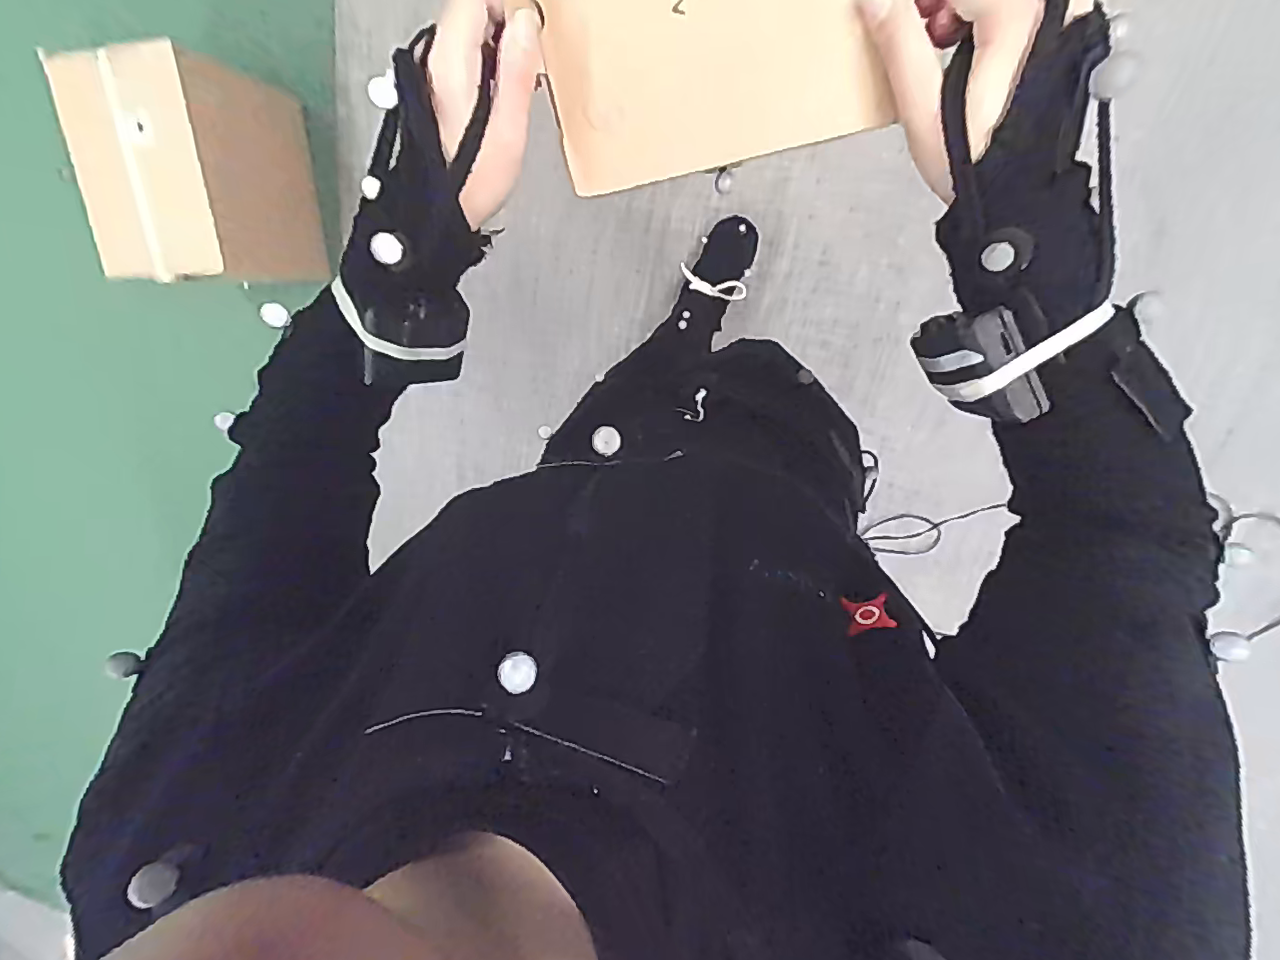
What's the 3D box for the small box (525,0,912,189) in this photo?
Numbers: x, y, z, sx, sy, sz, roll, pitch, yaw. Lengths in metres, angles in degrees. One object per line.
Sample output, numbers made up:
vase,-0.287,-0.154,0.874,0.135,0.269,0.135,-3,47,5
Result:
small box,0.040,-0.275,0.309,0.179,0.176,0.168,-7,119,13
